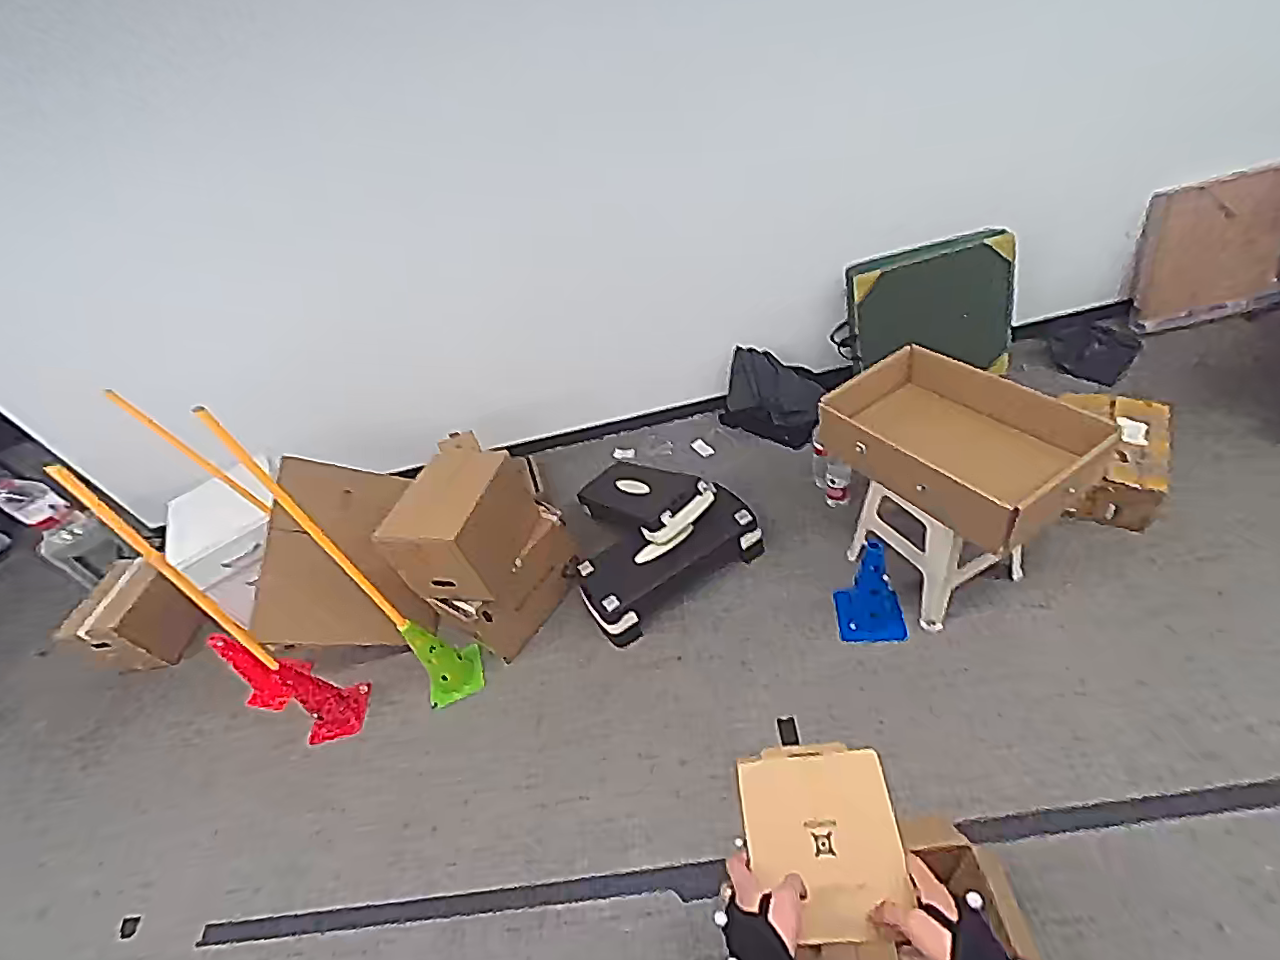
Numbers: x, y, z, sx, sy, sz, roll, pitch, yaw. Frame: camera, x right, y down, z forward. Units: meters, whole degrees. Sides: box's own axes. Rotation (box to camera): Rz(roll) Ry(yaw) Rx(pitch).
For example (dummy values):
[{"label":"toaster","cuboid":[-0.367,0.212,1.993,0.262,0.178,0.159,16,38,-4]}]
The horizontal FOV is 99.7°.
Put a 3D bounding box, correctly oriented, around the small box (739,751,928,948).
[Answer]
[{"label":"small box","cuboid":[0.212,0.445,0.652,0.168,0.176,0.179,-7,51,6]}]
